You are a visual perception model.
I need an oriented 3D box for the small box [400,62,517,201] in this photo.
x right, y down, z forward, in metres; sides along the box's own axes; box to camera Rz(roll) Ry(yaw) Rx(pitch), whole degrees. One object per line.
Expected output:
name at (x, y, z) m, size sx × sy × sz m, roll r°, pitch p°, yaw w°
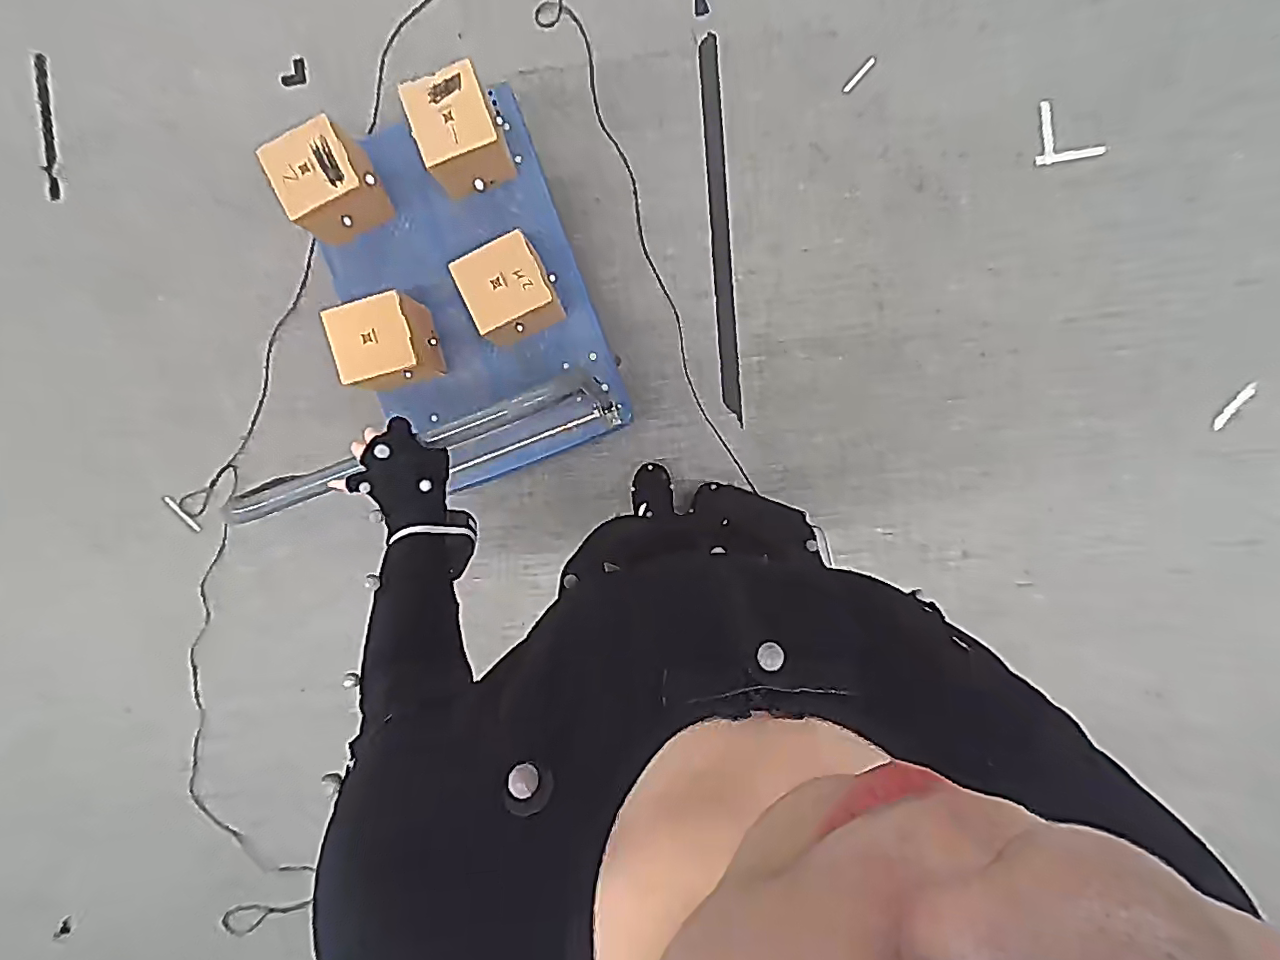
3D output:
small box at (-0.394, -0.763, 1.203) m, size 0.168 × 0.176 × 0.179 m, roll -20°, pitch 94°, yaw 4°

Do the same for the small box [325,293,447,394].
small box at (-0.574, -0.304, 1.241) m, size 0.179 × 0.176 × 0.168 m, roll -16°, pitch 92°, yaw 2°

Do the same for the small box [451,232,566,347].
small box at (-0.287, -0.418, 1.221) m, size 0.179 × 0.176 × 0.168 m, roll -25°, pitch 93°, yaw 4°
